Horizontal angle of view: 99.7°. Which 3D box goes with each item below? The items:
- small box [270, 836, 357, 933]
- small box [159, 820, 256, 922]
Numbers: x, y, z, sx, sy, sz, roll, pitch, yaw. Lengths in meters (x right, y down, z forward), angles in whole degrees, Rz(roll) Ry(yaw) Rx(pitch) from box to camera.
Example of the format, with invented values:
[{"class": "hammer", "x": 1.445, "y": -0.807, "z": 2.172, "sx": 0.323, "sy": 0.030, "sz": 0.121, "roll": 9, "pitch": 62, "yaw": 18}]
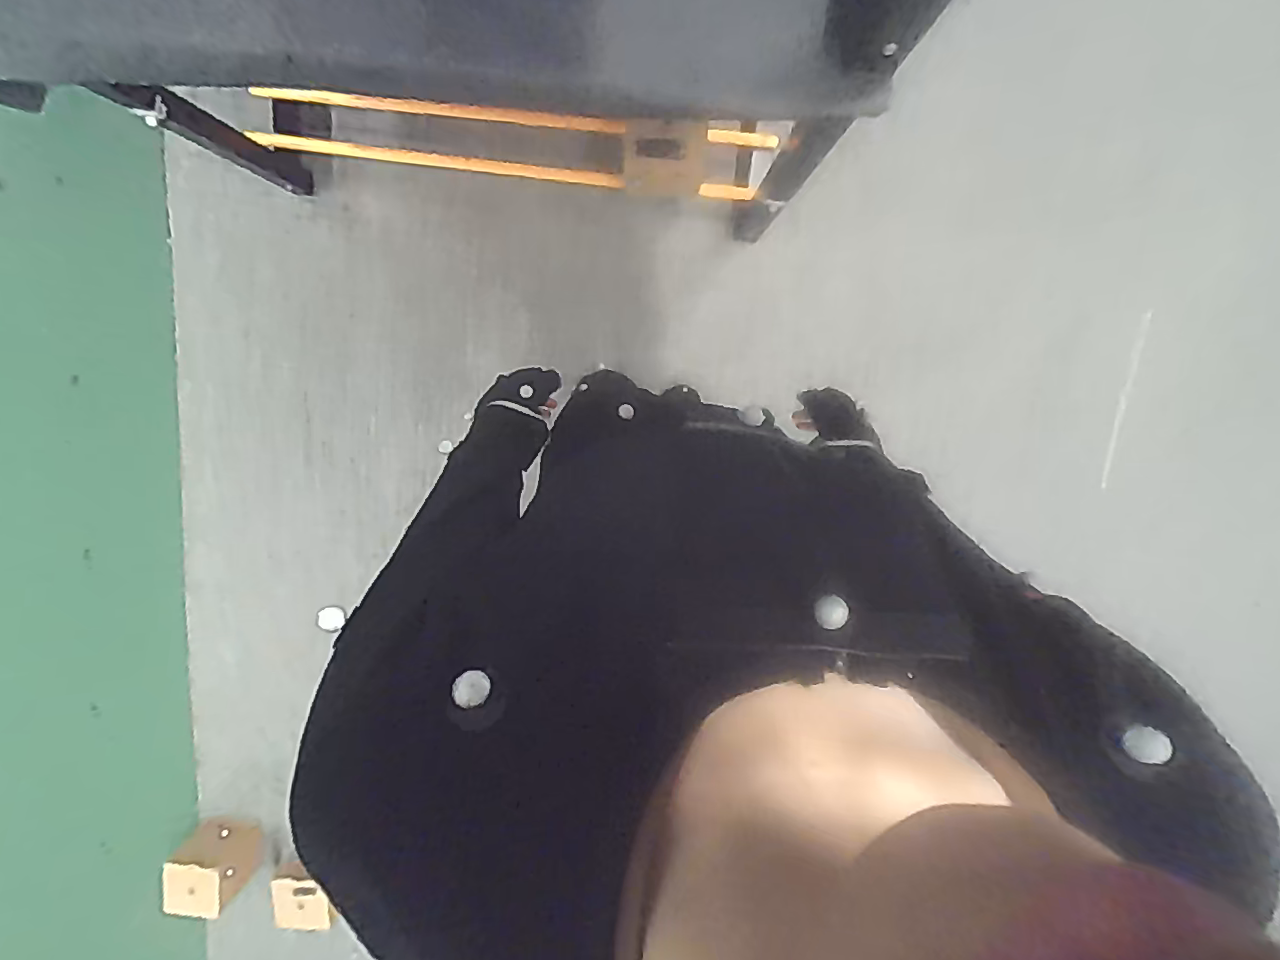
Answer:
[{"class": "small box", "x": -0.981, "y": 1.218, "z": 1.638, "sx": 0.168, "sy": 0.176, "sz": 0.179, "roll": 3, "pitch": 101, "yaw": 1}, {"class": "small box", "x": -1.303, "y": 1.179, "z": 1.637, "sx": 0.168, "sy": 0.176, "sz": 0.179, "roll": 8, "pitch": 100, "yaw": -1}]
